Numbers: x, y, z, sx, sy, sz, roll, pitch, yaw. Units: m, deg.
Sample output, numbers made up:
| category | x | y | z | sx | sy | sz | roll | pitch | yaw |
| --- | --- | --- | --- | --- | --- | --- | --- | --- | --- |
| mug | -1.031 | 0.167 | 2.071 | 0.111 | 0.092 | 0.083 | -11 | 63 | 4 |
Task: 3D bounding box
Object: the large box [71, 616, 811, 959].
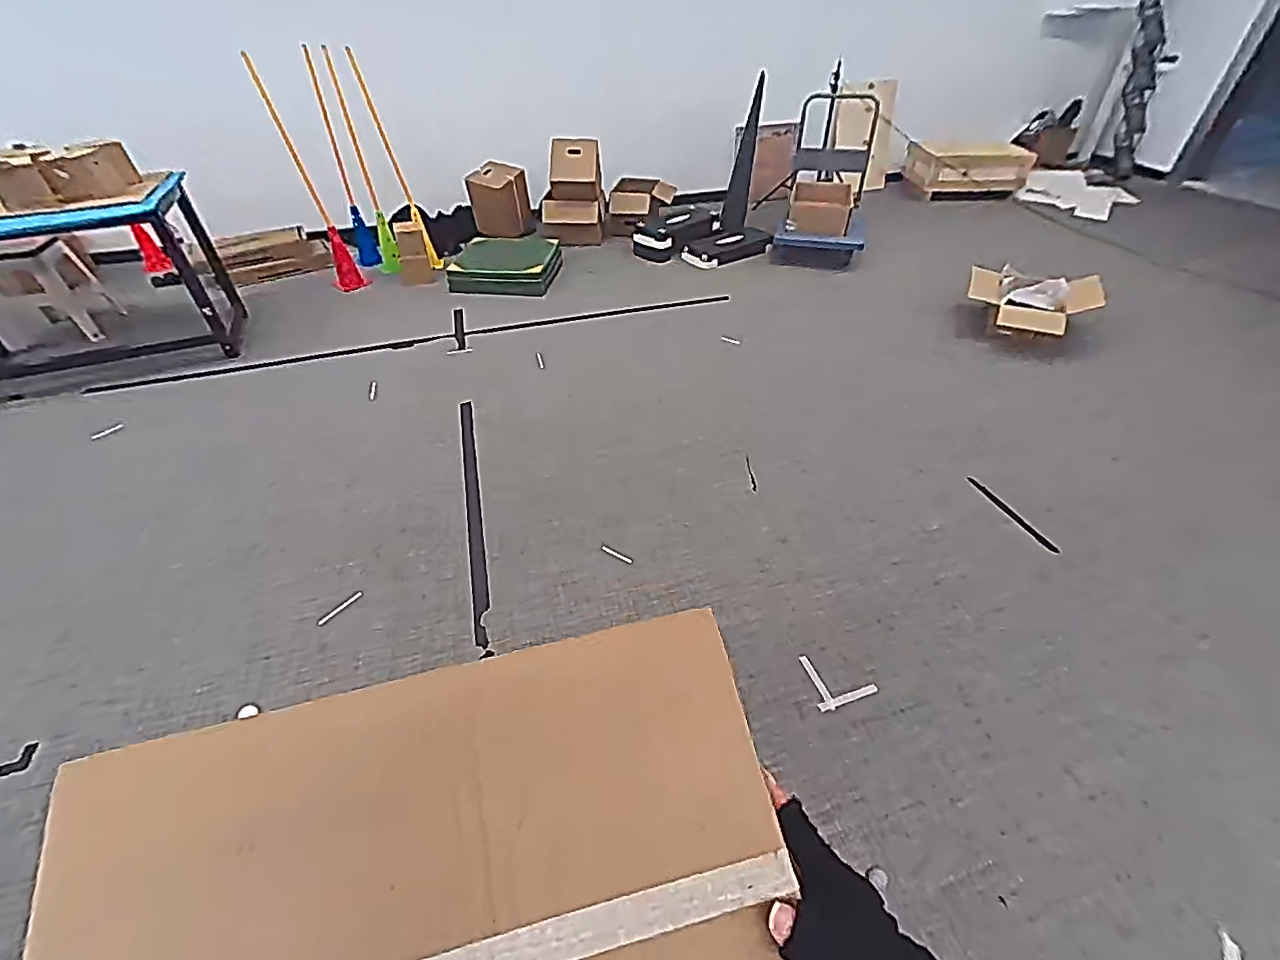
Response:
| category | x | y | z | sx | sy | sz | roll | pitch | yaw |
| --- | --- | --- | --- | --- | --- | --- | --- | --- | --- |
| large box | -0.112 | 0.335 | 0.432 | 0.408 | 0.320 | 0.320 | -12 | 67 | -7 |
